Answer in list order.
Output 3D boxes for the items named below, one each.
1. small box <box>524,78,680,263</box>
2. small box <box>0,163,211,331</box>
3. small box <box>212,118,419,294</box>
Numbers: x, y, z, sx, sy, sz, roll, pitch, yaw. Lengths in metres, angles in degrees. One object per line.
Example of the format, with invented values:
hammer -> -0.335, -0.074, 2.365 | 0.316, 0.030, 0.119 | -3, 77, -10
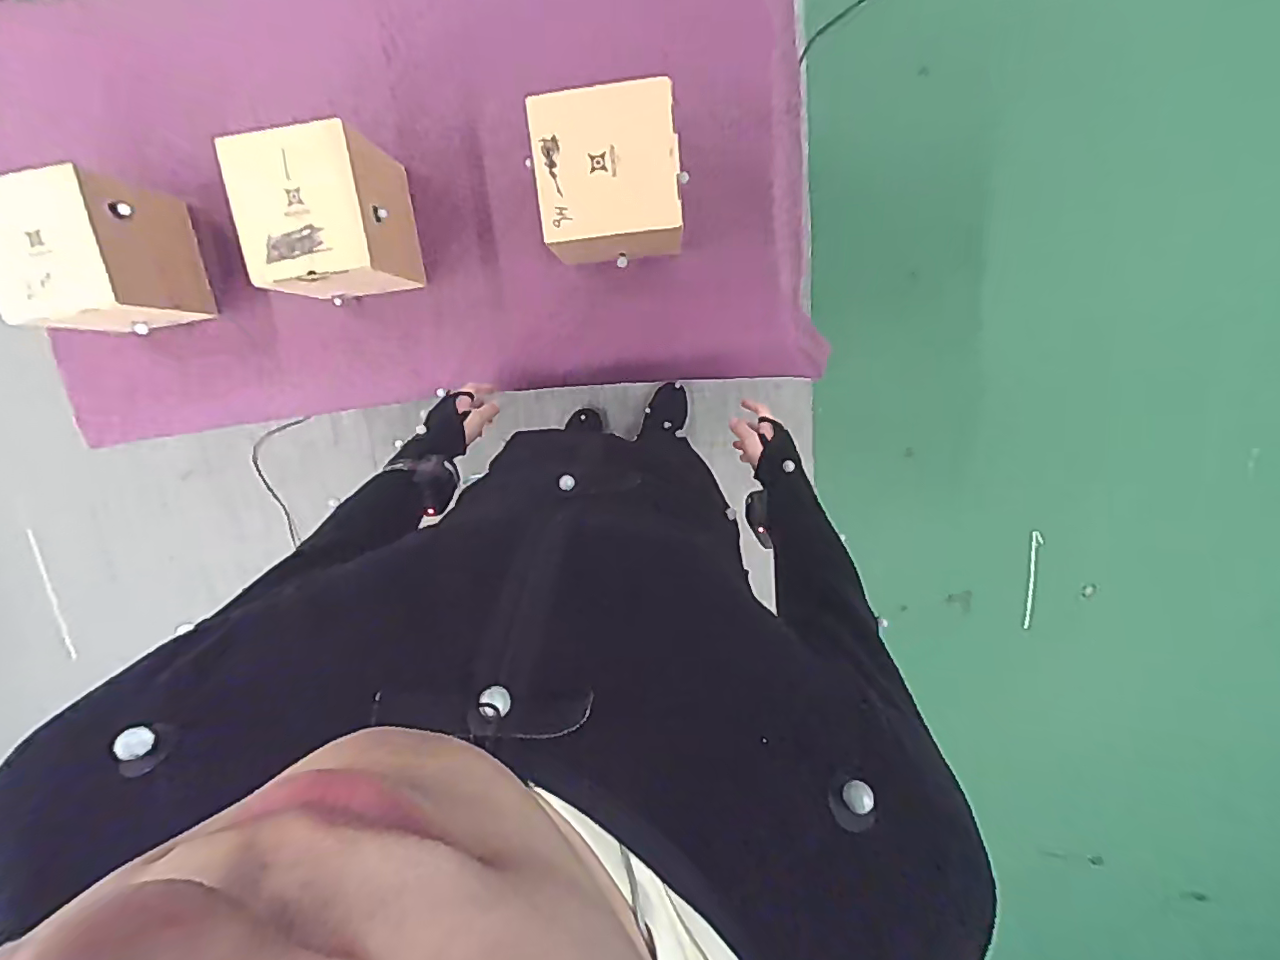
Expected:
small box -> -0.042, -0.399, 0.726 | 0.179, 0.176, 0.168 | -5, 101, 3
small box -> -0.774, -0.318, 0.773 | 0.168, 0.176, 0.179 | -8, 102, 4
small box -> -0.430, -0.362, 0.751 | 0.168, 0.176, 0.179 | -7, 101, 4
